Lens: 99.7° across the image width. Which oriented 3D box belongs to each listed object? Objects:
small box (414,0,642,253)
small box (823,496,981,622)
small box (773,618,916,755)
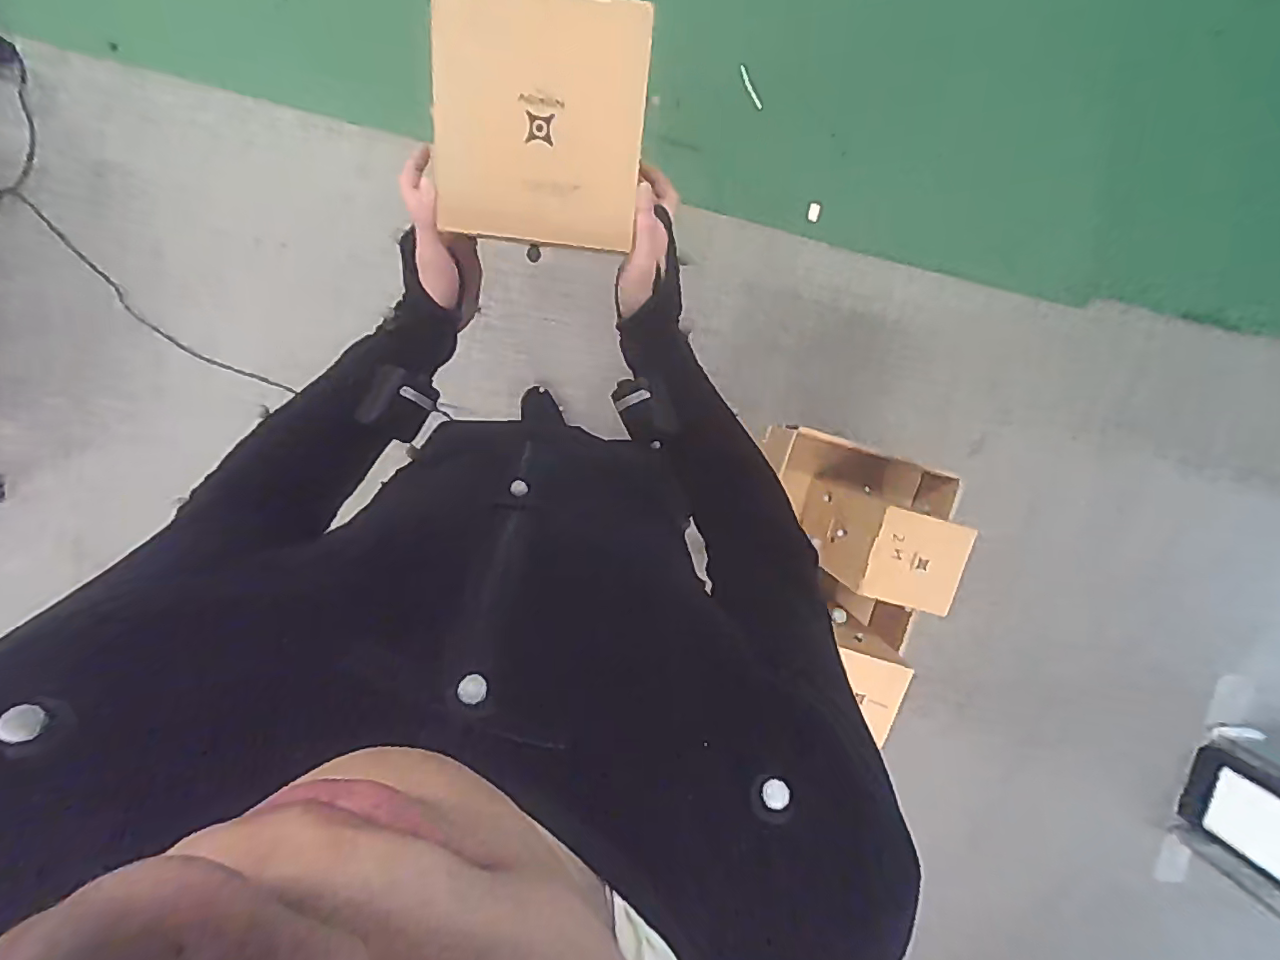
[{"bbox_3d":[-0.093,-0.310,0.490,0.168,0.176,0.179,5,112,-5],"label":"small box"},{"bbox_3d":[0.475,0.138,1.005,0.179,0.176,0.168,16,97,-6],"label":"small box"},{"bbox_3d":[0.379,0.384,1.039,0.179,0.176,0.168,18,97,-7],"label":"small box"}]
